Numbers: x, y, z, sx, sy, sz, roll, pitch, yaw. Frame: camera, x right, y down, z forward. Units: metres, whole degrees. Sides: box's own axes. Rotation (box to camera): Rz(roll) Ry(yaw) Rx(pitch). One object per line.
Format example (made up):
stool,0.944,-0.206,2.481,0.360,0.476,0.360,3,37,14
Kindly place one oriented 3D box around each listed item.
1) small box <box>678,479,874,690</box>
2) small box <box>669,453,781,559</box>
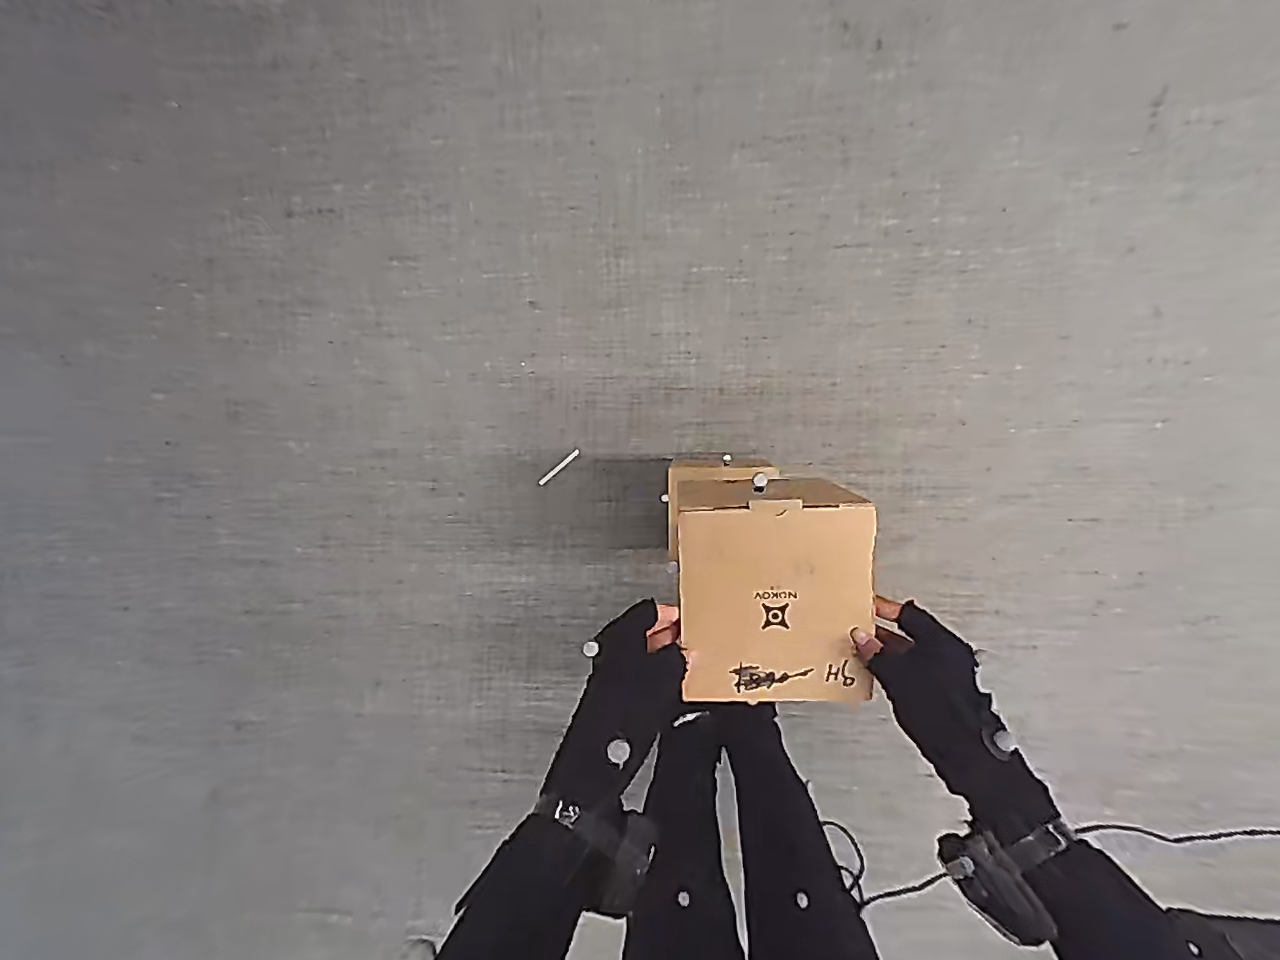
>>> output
small box,0.123,0.091,0.550,0.168,0.176,0.179,-1,97,4
small box,0.142,0.042,0.944,0.179,0.176,0.168,1,97,5
